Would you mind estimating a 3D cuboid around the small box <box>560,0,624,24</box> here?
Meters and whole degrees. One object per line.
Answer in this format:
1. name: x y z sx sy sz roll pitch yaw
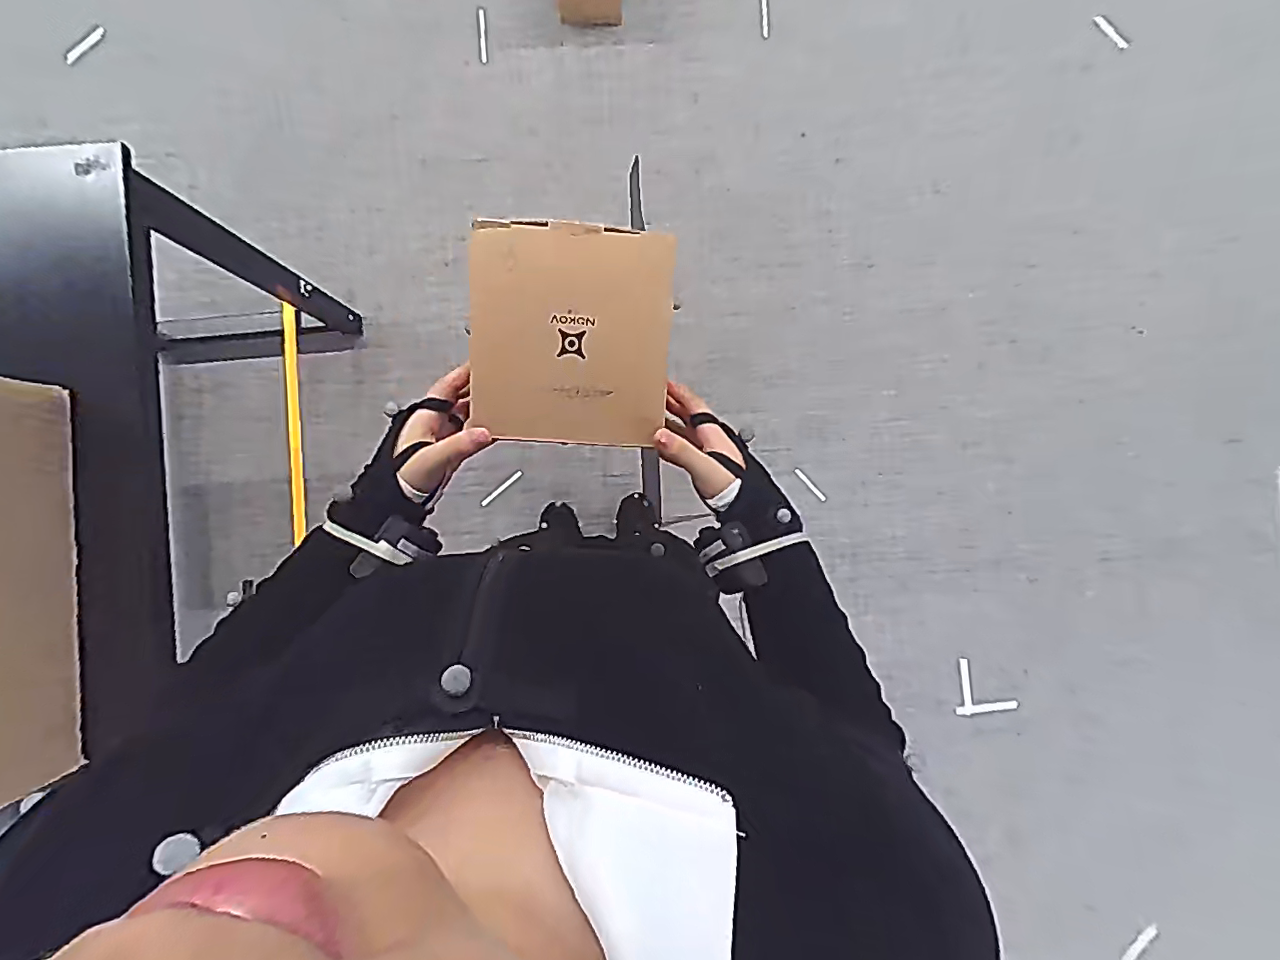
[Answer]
1. small box: -0.130 -1.365 1.439 0.179 0.176 0.168 0 89 -2
